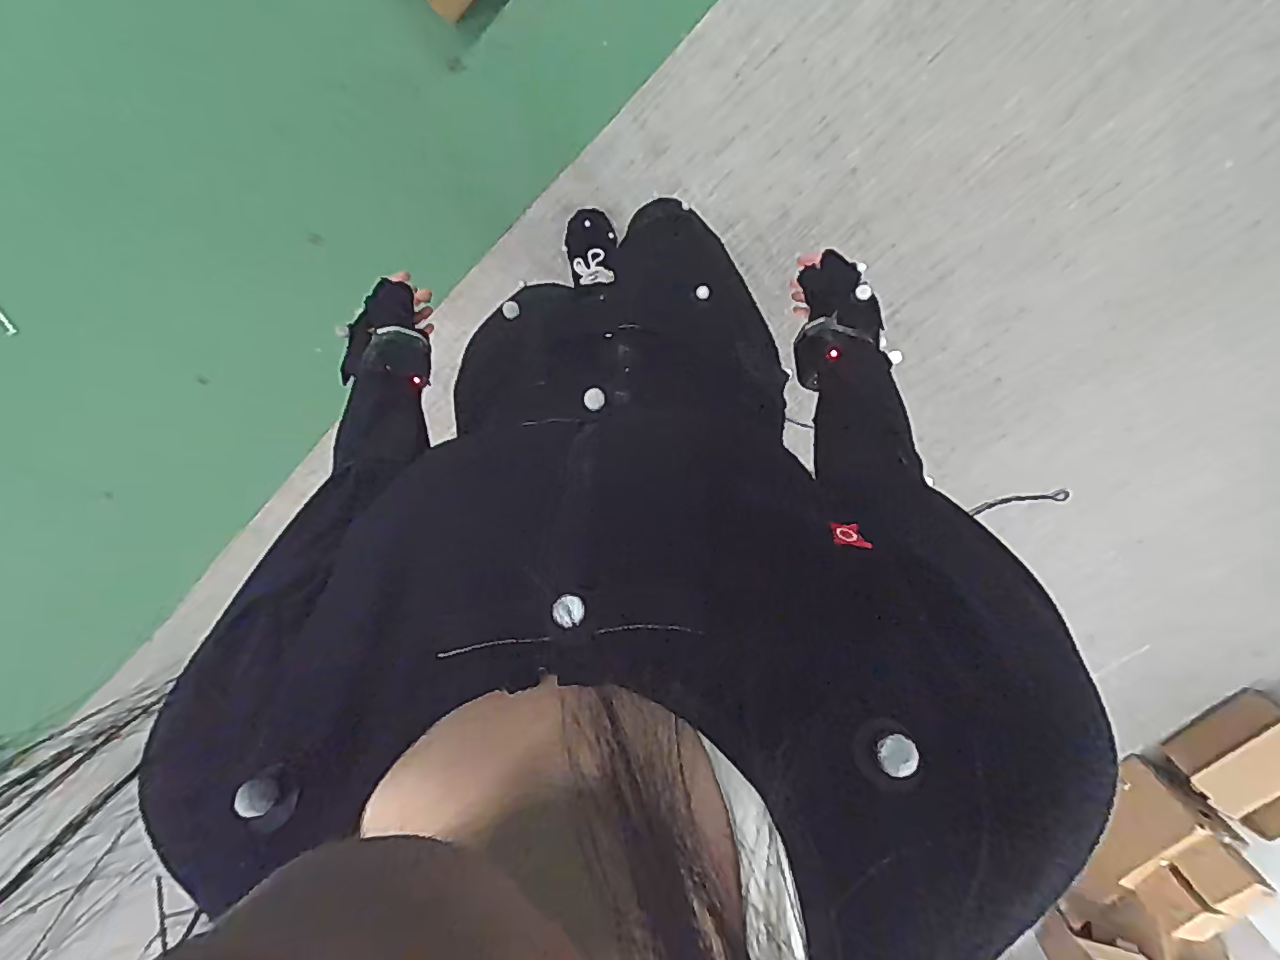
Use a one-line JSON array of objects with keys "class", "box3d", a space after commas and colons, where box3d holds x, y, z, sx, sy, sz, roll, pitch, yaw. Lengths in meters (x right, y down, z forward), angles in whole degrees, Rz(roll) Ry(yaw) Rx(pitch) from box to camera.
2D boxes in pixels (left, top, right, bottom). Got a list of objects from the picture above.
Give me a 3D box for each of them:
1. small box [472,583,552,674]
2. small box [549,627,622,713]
[{"class": "small box", "box3d": [-0.391, 0.461, 1.690, 0.179, 0.176, 0.168, -39, 114, 15]}, {"class": "small box", "box3d": [-0.180, 0.620, 1.782, 0.168, 0.176, 0.179, 38, 109, -21]}]
